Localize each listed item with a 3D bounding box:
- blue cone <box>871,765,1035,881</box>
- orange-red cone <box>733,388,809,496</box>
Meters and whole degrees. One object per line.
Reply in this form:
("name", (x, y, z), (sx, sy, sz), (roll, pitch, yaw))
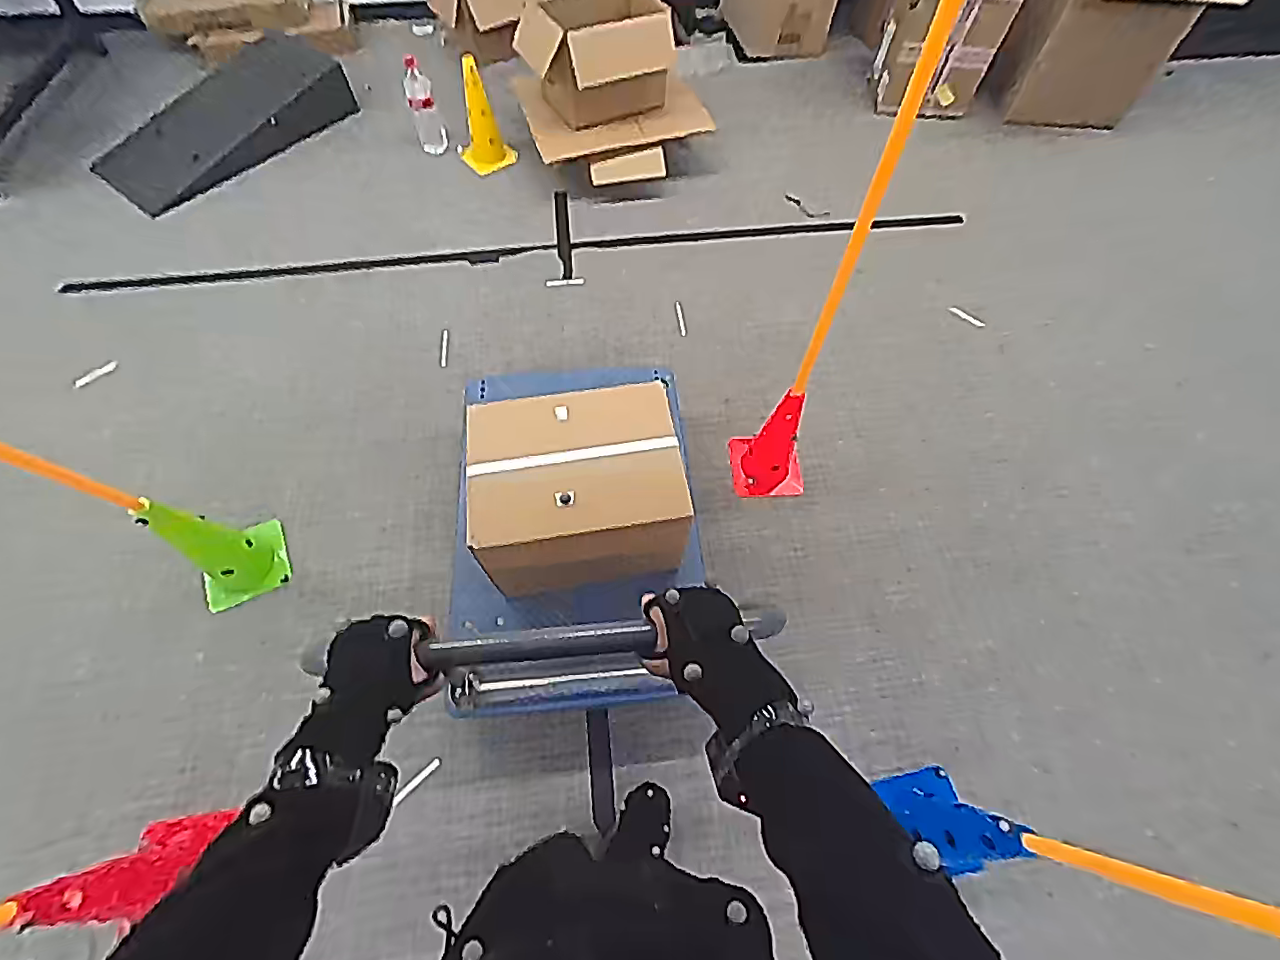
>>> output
("blue cone", (0.620, 0.659, 1.027), (0.193, 0.380, 0.192), (-9, 61, -7))
("orange-red cone", (0.379, -0.121, 1.432), (0.199, 0.360, 0.198), (0, 62, -2))
